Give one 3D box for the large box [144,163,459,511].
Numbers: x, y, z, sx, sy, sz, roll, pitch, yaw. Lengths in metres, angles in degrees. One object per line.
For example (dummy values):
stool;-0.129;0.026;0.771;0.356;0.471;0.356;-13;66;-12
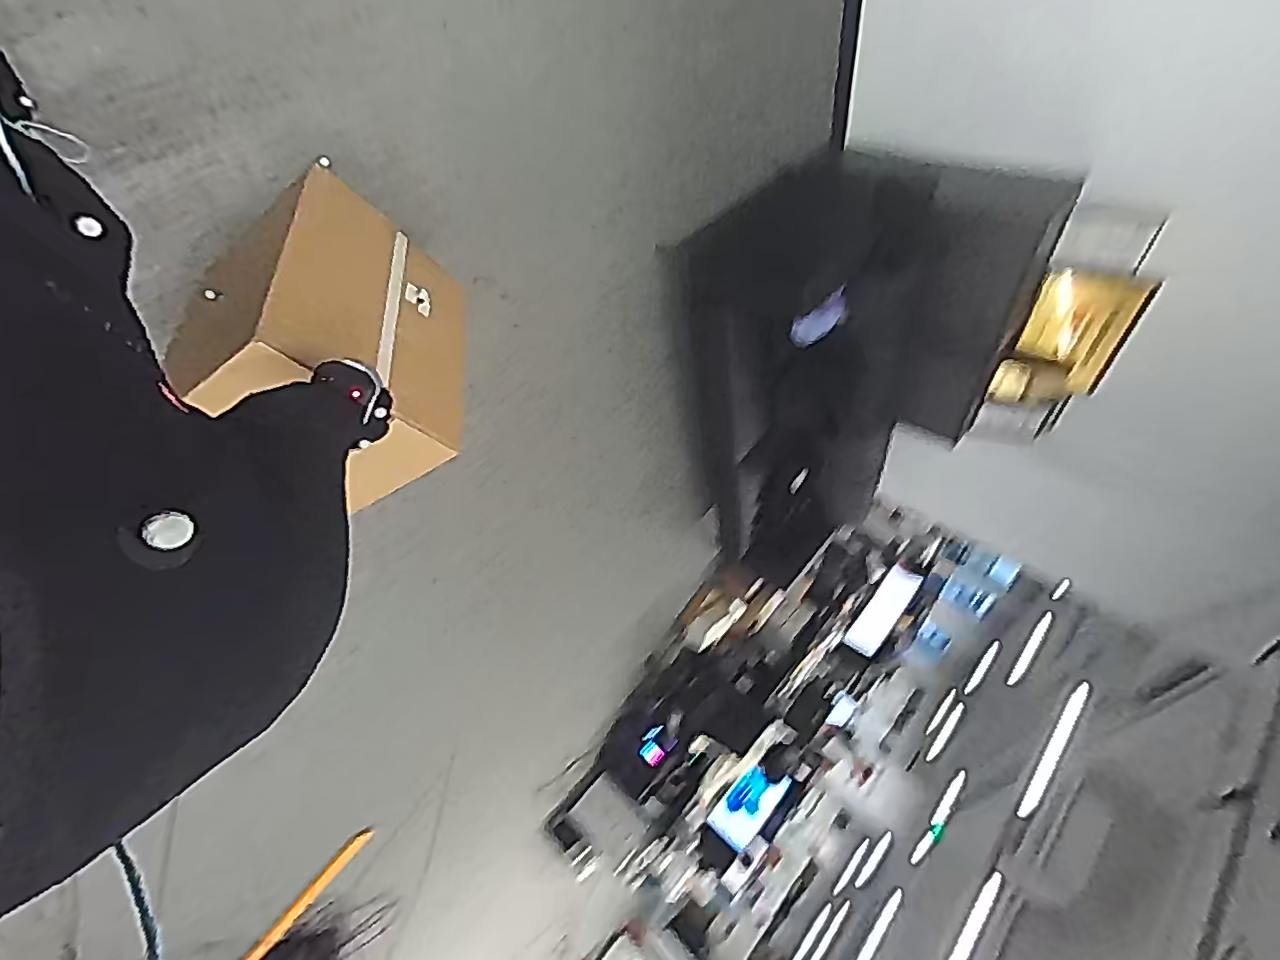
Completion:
large box;-0.532;-0.216;0.915;0.320;0.408;0.320;-26;145;21
